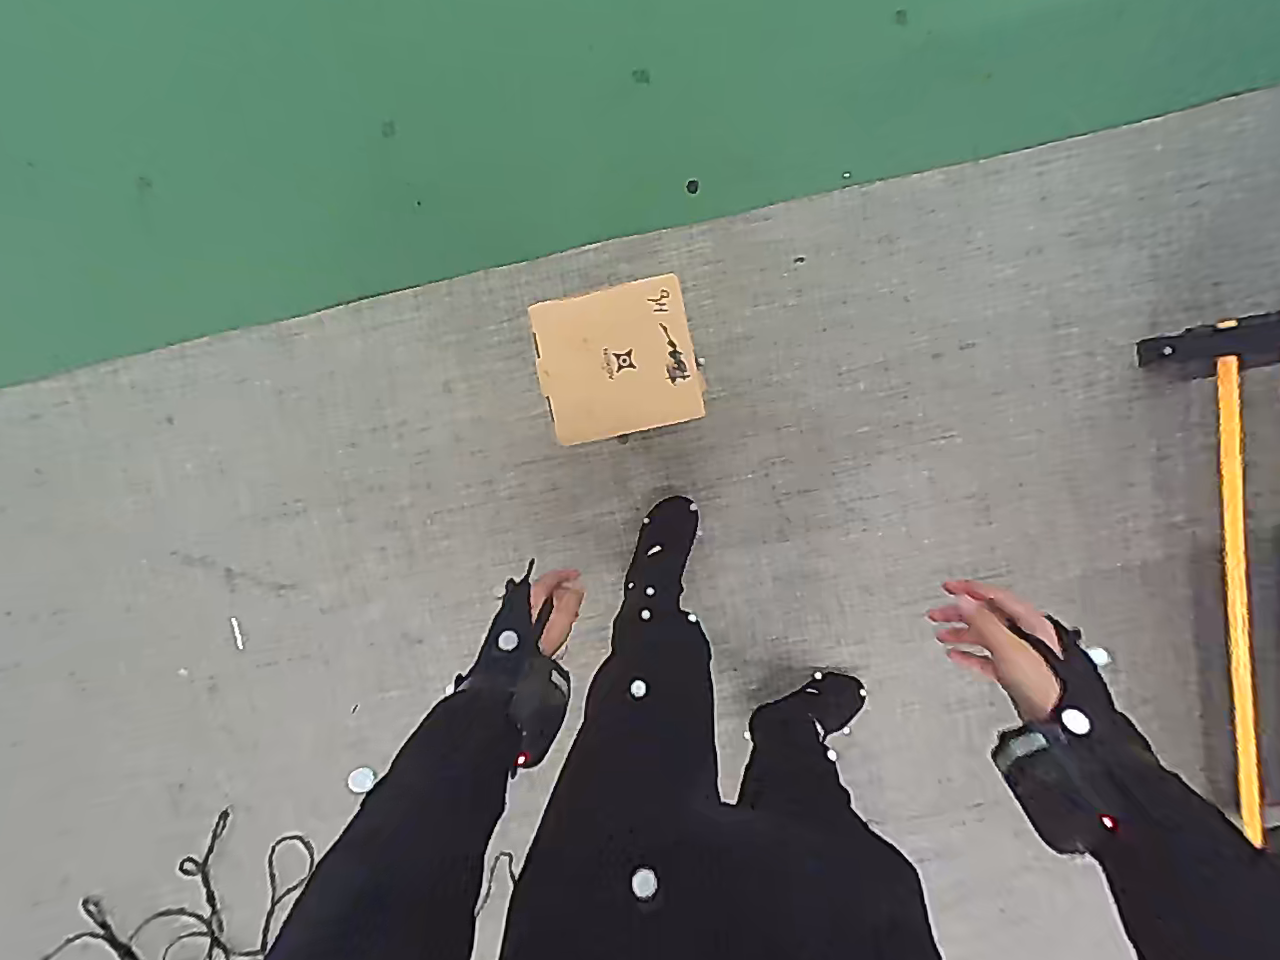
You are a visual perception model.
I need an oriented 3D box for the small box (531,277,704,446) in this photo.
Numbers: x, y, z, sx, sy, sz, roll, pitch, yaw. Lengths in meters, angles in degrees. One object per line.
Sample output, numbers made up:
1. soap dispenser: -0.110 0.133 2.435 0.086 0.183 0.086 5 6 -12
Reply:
1. small box: -0.021 -0.140 0.694 0.179 0.176 0.168 -11 96 3
